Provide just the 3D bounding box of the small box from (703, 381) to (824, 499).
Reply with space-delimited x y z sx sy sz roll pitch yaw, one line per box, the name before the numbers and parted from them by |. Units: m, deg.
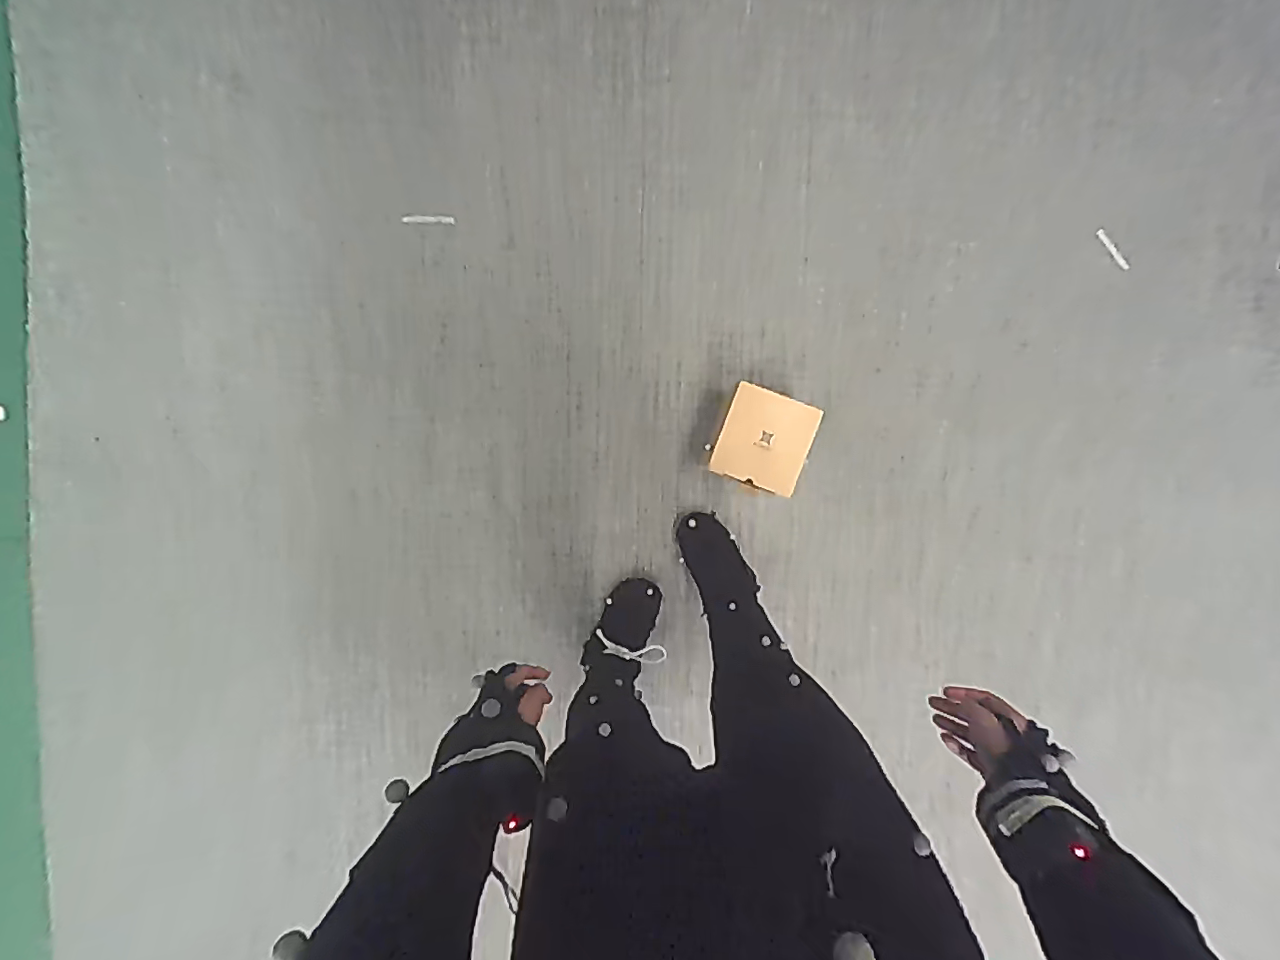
small box | 0.231 -0.077 1.063 0.168 0.176 0.179 20 94 0
